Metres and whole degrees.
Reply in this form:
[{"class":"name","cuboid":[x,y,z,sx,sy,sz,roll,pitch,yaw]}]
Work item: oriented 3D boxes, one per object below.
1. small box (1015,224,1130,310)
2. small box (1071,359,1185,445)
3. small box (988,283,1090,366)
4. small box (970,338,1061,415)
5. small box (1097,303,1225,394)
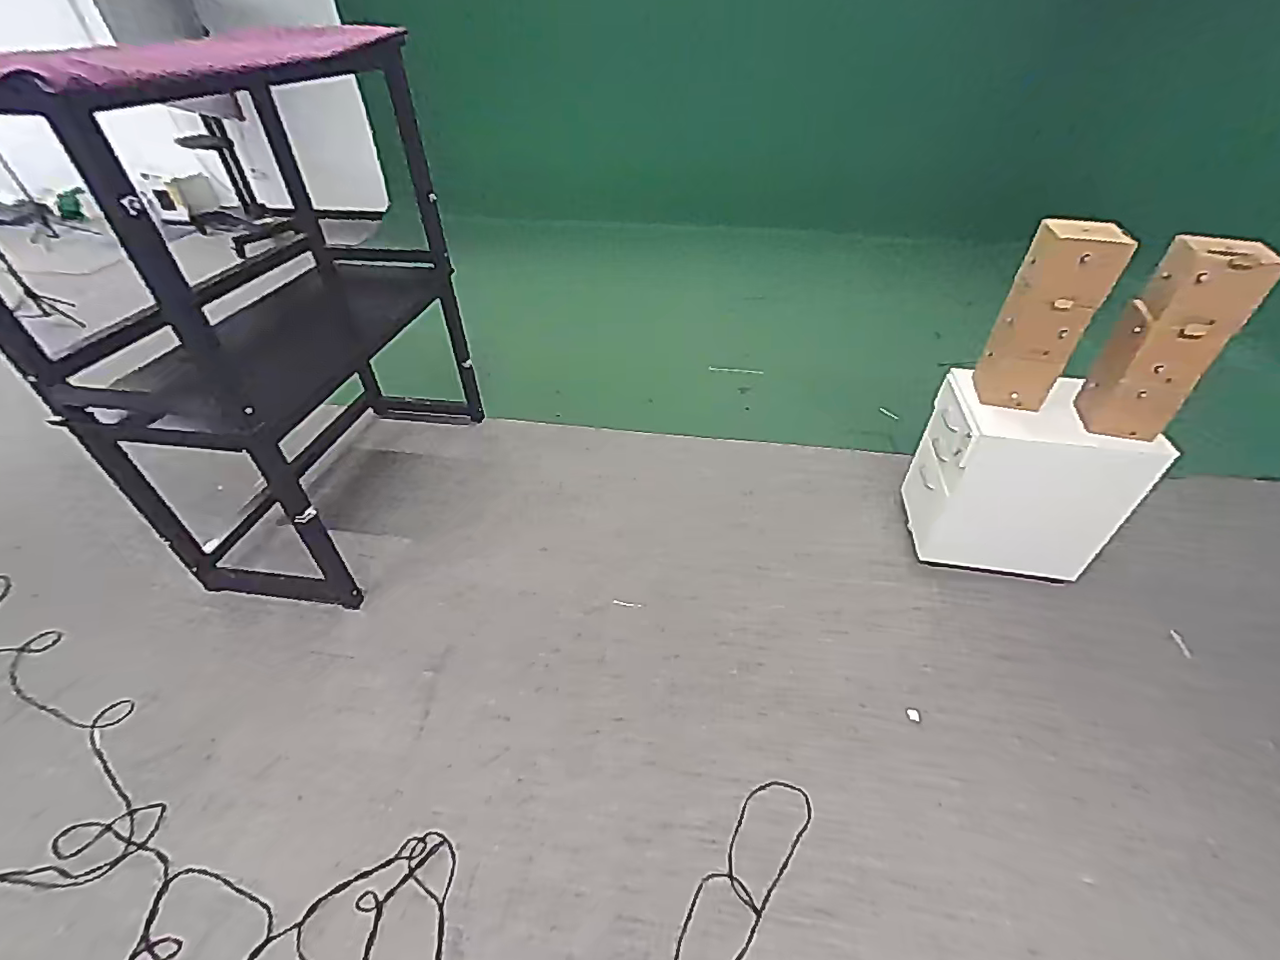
[{"class":"small box","cuboid":[1.154,-0.575,1.465,0.179,0.176,0.168,11,43,11]},{"class":"small box","cuboid":[1.391,-0.227,1.560,0.168,0.176,0.179,11,41,14]},{"class":"small box","cuboid":[1.150,-0.451,1.573,0.168,0.176,0.179,12,41,11]},{"class":"small box","cuboid":[1.152,-0.326,1.676,0.168,0.176,0.179,11,43,13]},{"class":"small box","cuboid":[1.388,-0.355,1.459,0.168,0.176,0.179,11,42,14]}]
